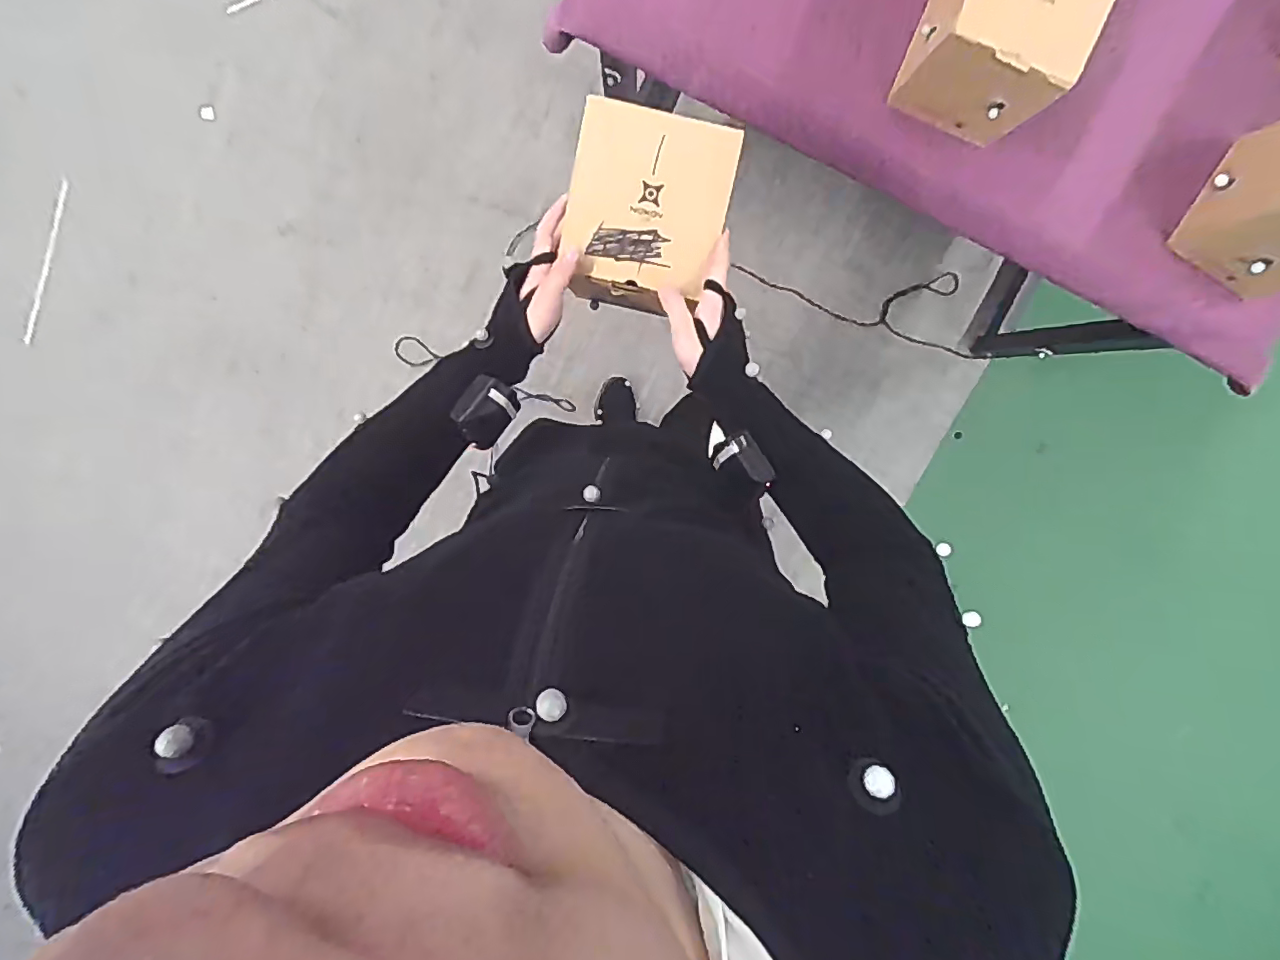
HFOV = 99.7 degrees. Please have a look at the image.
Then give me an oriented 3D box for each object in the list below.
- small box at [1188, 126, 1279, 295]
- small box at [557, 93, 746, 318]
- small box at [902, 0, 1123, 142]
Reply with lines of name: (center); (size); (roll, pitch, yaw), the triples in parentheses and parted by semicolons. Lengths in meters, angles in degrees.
small box: (0.913, -0.372, 0.724); (0.168, 0.176, 0.179); (29, 99, -5)
small box: (0.012, -0.299, 0.632); (0.168, 0.176, 0.179); (12, 100, -1)
small box: (0.468, -0.577, 0.689); (0.168, 0.176, 0.179); (21, 99, -4)
